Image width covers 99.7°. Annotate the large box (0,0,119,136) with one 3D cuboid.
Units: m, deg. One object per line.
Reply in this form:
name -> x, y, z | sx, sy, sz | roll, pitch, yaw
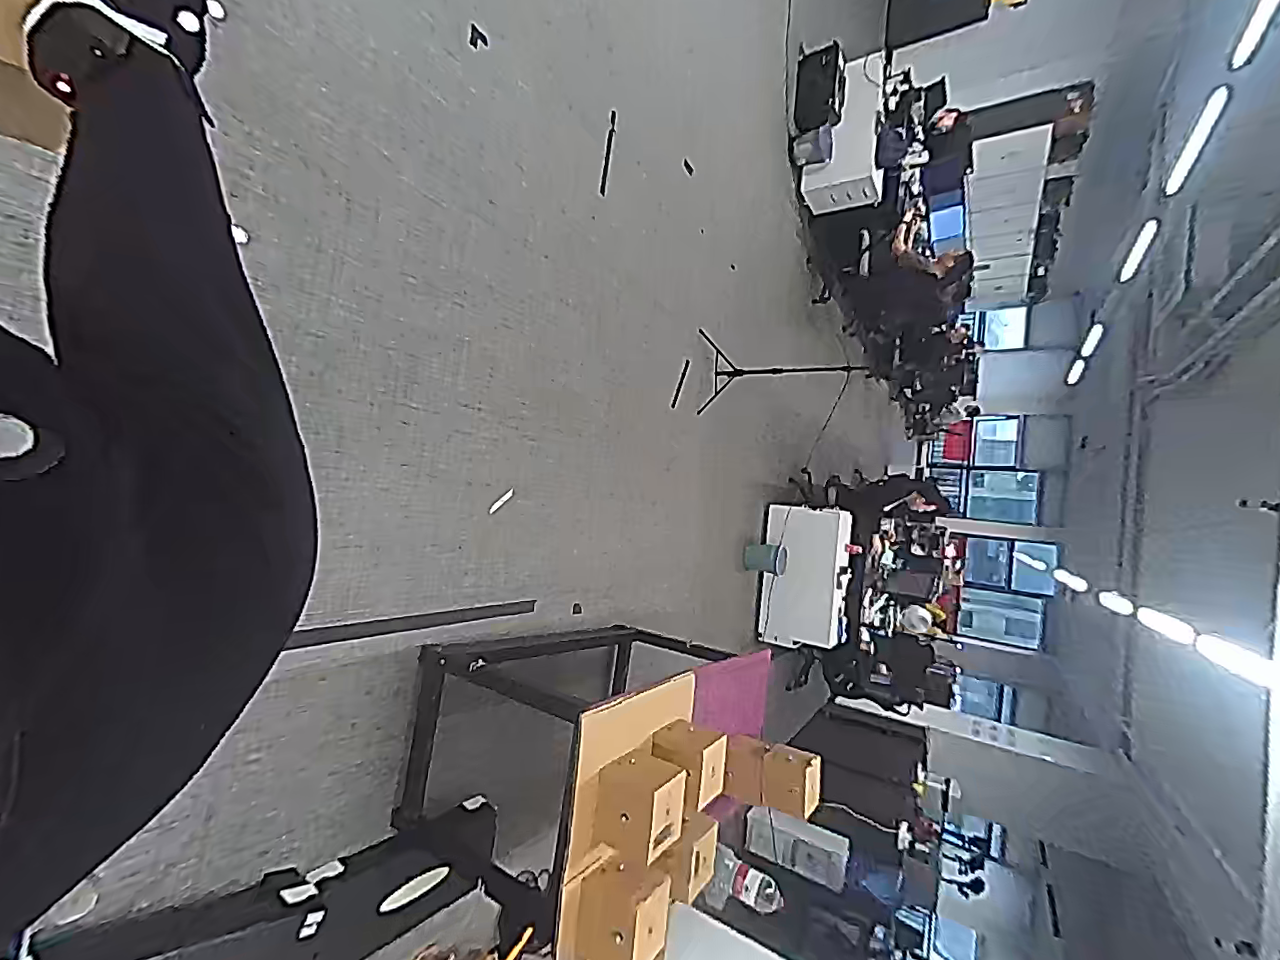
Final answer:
large box -> -0.644, -0.487, 0.347 | 0.408, 0.320, 0.320 | -4, 105, -54
